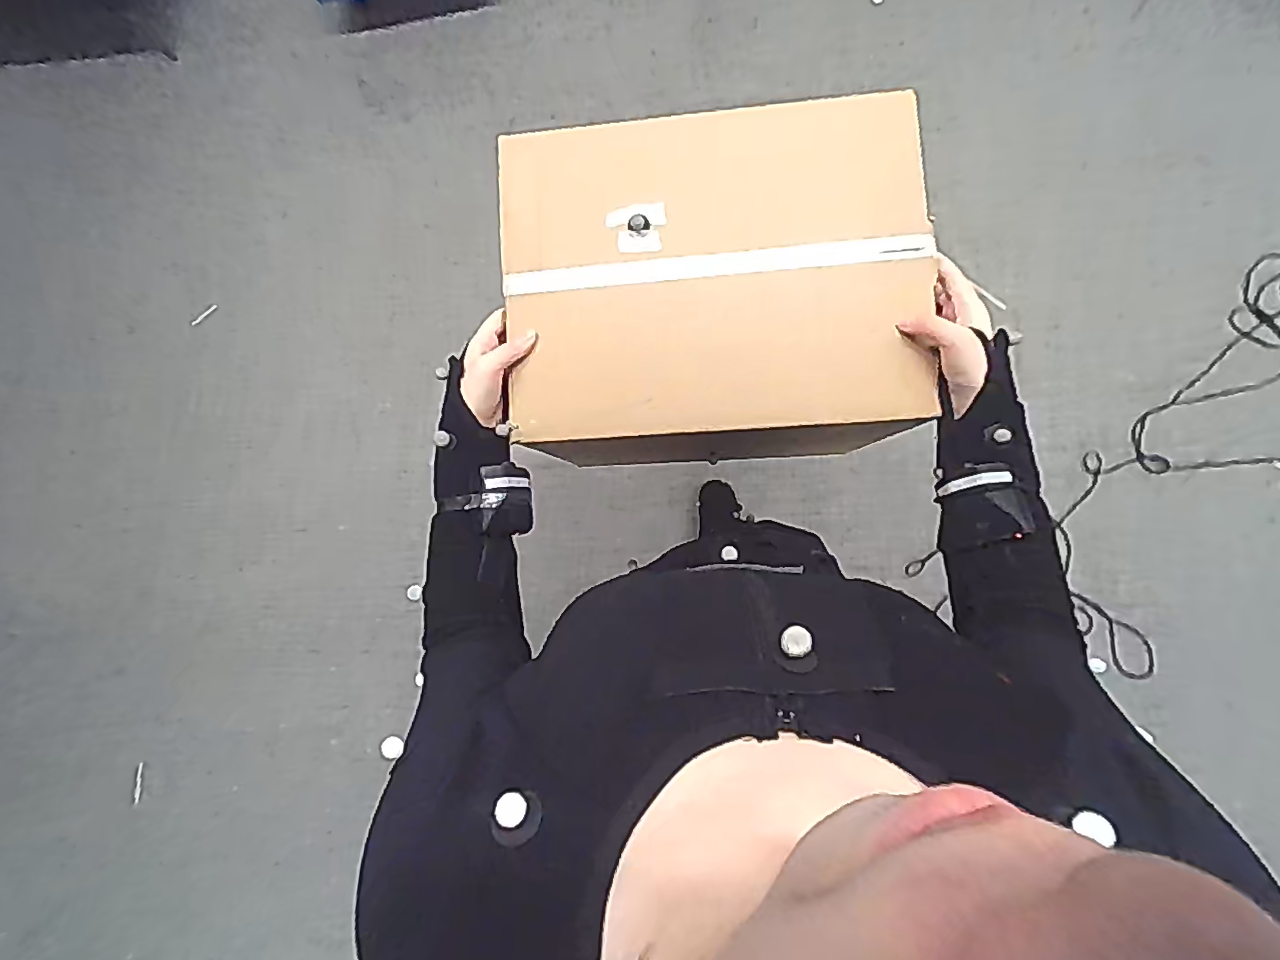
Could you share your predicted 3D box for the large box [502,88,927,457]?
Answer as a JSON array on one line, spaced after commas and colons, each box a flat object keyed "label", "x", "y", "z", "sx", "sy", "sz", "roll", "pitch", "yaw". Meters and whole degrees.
[{"label": "large box", "x": 0.082, "y": -0.203, "z": 0.678, "sx": 0.408, "sy": 0.320, "sz": 0.320, "roll": -3, "pitch": 87, "yaw": 7}]
